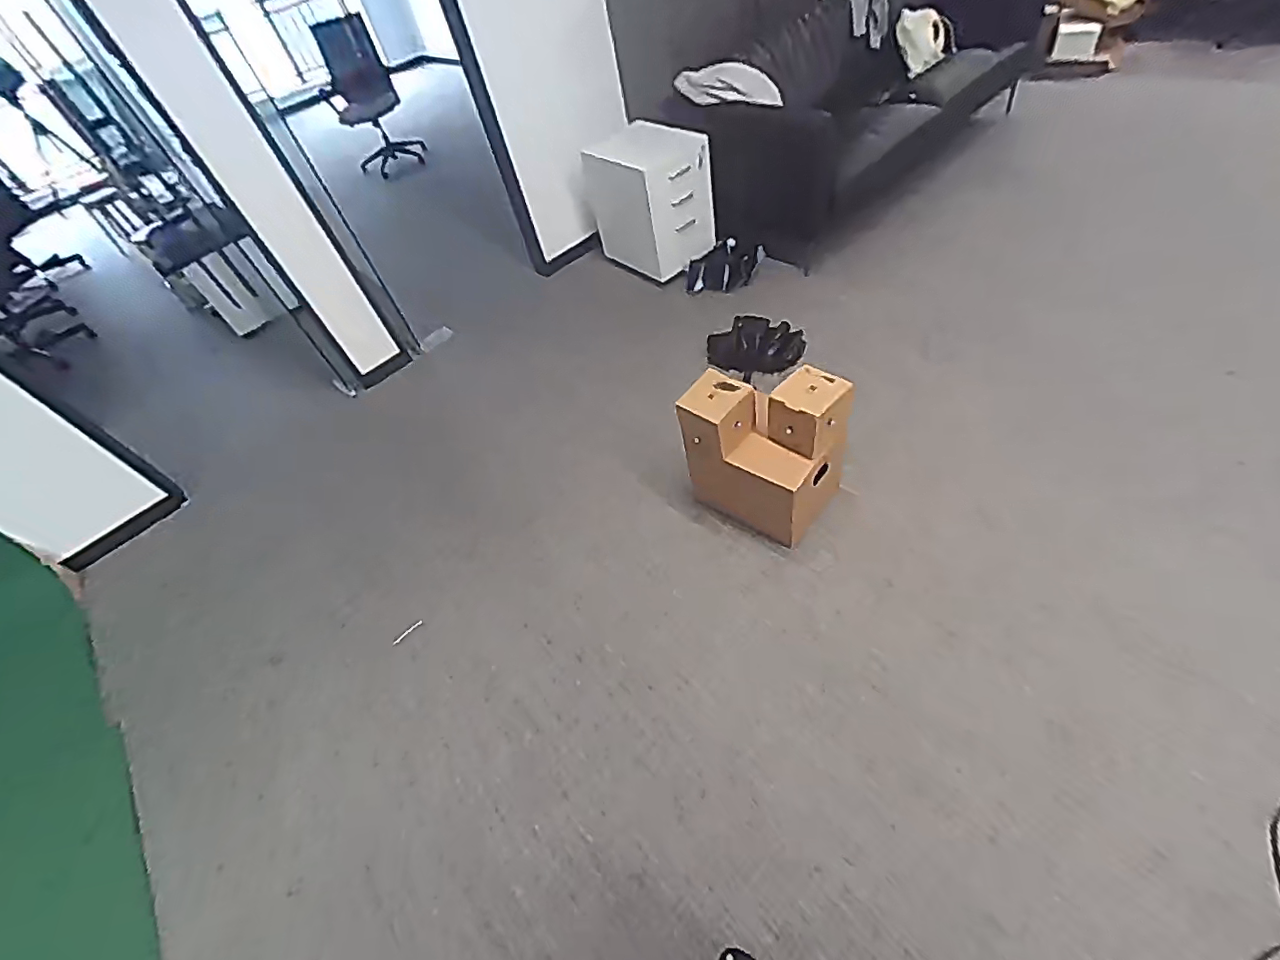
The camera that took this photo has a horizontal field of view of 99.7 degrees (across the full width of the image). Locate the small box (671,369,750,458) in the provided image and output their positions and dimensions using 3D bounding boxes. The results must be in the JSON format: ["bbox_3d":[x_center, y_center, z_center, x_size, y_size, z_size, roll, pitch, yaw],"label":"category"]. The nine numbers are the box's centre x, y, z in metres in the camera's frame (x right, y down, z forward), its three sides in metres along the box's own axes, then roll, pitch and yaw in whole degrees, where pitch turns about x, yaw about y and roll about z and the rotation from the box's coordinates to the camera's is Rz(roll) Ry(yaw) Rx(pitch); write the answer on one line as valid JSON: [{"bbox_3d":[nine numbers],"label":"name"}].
[{"bbox_3d":[0.220,-0.202,1.651,0.168,0.176,0.179,32,66,33],"label":"small box"}]

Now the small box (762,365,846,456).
[{"bbox_3d":[0.480,-0.200,1.590,0.179,0.176,0.168,-40,53,-22],"label":"small box"}]
